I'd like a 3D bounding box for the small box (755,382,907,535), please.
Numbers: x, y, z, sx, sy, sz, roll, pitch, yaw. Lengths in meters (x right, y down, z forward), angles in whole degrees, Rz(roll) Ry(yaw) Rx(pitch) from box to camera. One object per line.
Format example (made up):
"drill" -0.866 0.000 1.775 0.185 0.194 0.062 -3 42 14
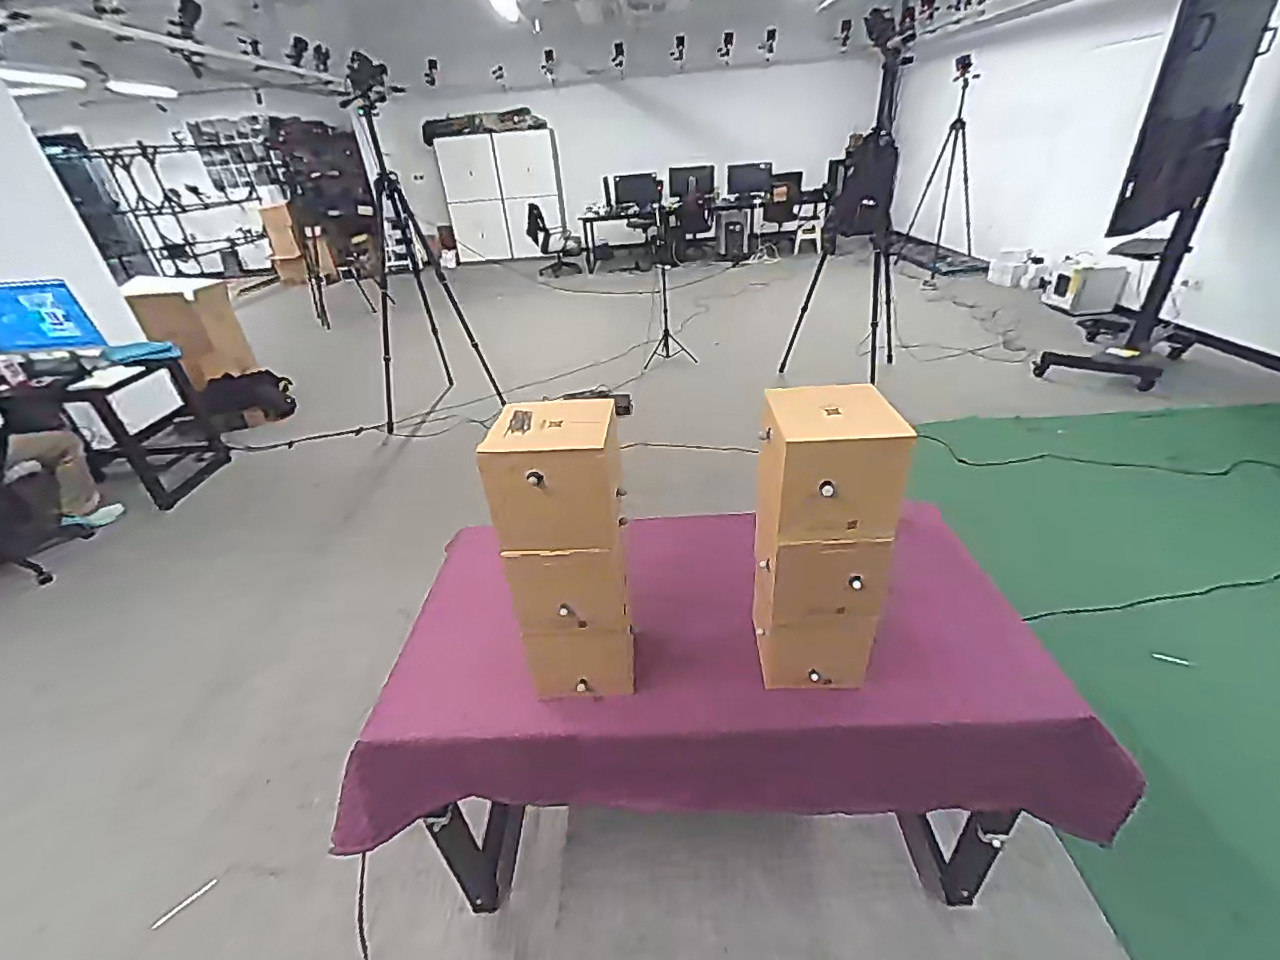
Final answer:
"small box" 0.266 -0.030 0.799 0.168 0.176 0.179 -3 32 3

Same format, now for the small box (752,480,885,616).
"small box" 0.279 0.108 0.885 0.168 0.176 0.179 -3 32 3

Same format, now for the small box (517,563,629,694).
"small box" -0.111 0.270 0.988 0.179 0.176 0.168 -3 32 1

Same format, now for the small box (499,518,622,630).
"small box" -0.122 0.127 0.904 0.168 0.176 0.179 -3 32 3

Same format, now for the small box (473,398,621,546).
"small box" -0.128 -0.013 0.818 0.179 0.176 0.168 -2 32 4
